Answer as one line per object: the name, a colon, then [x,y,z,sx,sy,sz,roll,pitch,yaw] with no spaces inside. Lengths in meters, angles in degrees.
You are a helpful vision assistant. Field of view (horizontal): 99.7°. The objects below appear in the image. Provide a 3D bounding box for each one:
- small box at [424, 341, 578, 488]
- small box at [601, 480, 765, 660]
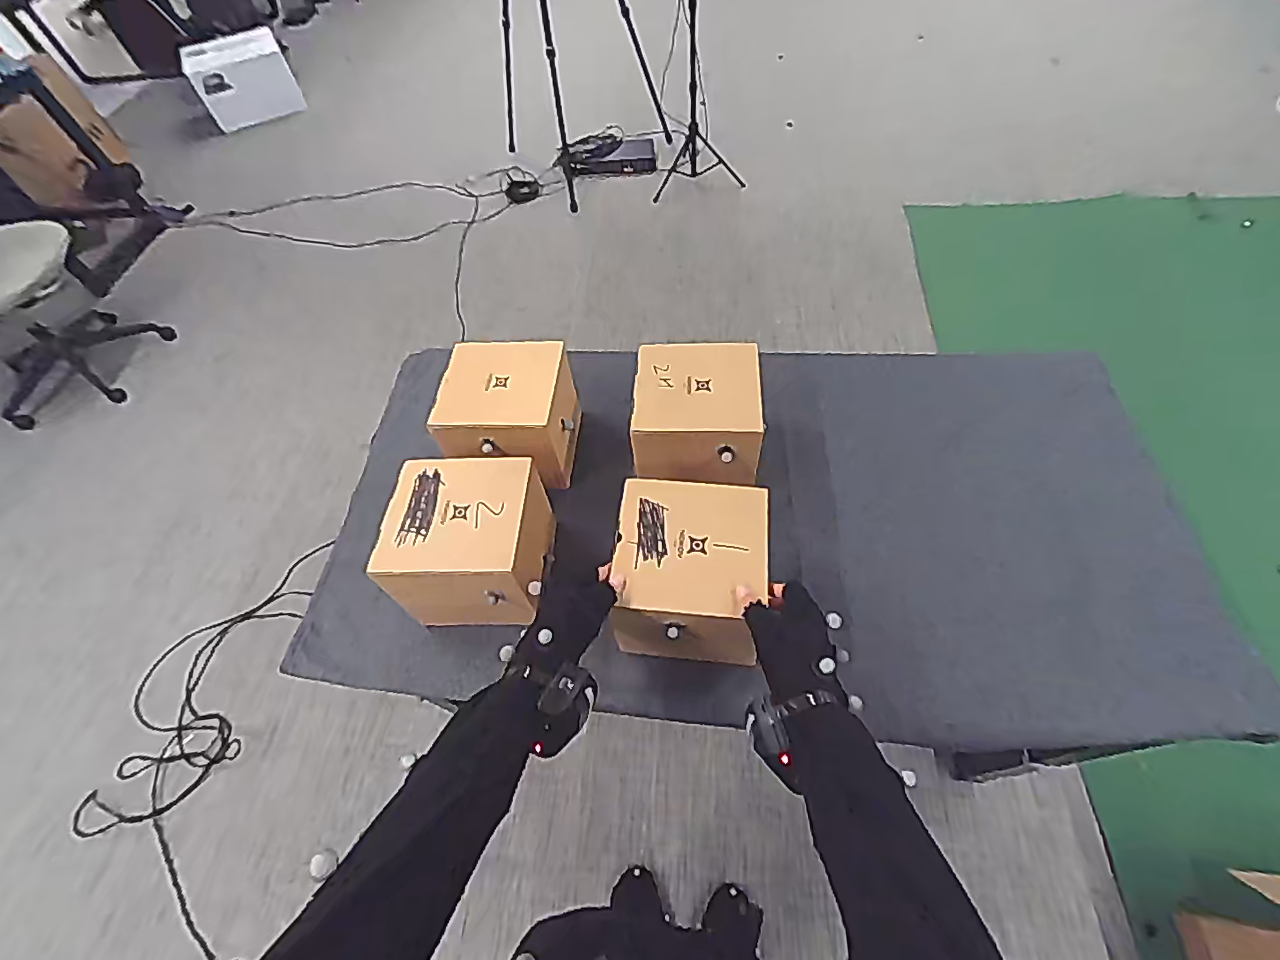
small box: [-0.202,-0.098,0.850,0.179,0.176,0.168,0,57,7]
small box: [0.060,0.116,0.676,0.179,0.176,0.168,3,57,8]
